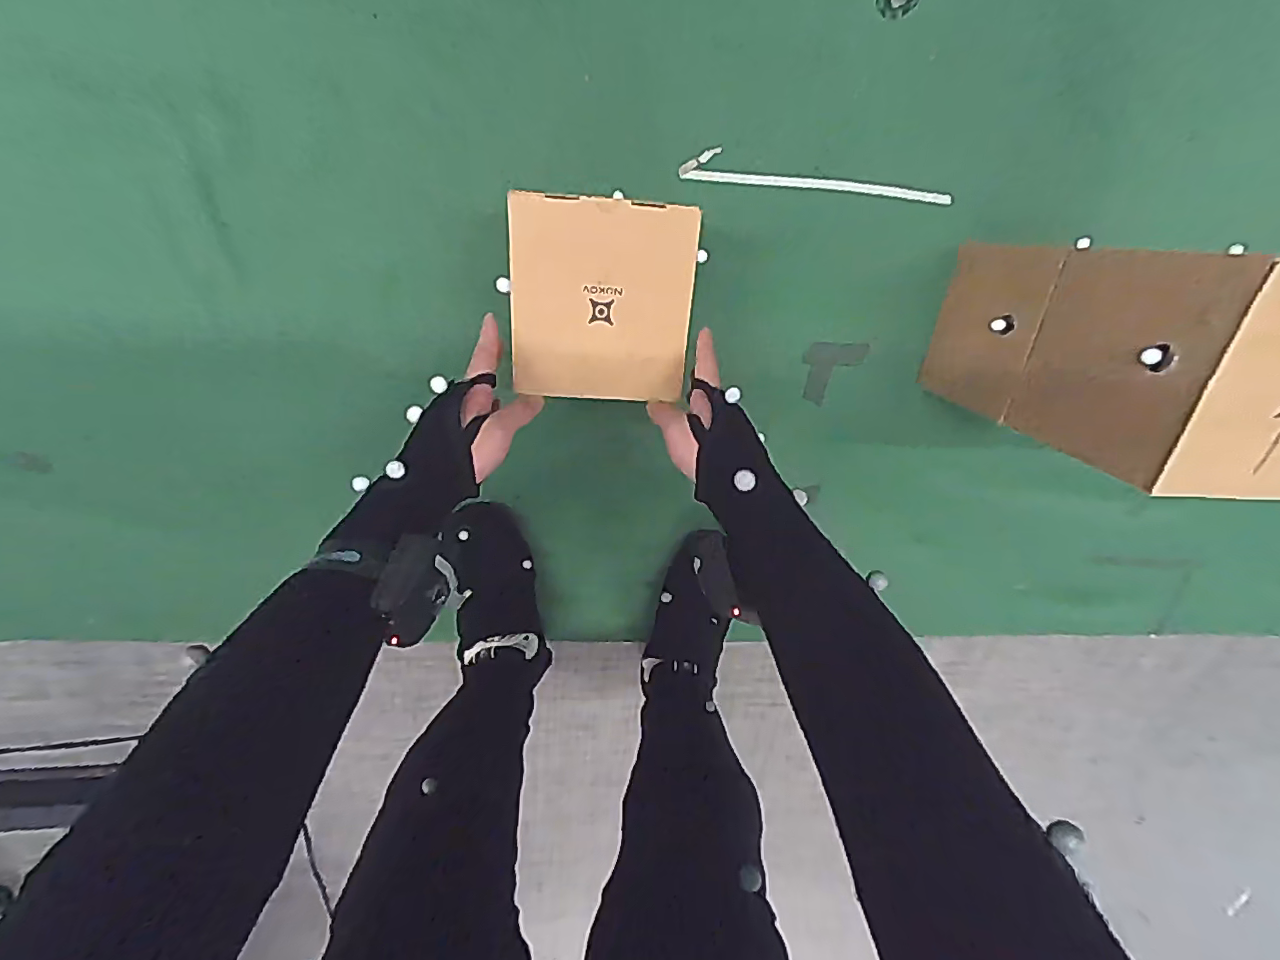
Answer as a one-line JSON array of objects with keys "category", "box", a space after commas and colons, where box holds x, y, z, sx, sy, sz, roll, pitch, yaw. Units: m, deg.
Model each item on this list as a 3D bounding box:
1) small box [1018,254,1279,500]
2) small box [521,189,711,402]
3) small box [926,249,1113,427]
[{"category": "small box", "box": [0.484, -0.097, 0.474, 0.168, 0.176, 0.179, 3, 114, -7]}, {"category": "small box", "box": [-0.031, -0.193, 0.567, 0.168, 0.176, 0.179, 2, 113, -6]}, {"category": "small box", "box": [0.467, -0.164, 0.622, 0.168, 0.176, 0.179, 3, 114, -7]}]
